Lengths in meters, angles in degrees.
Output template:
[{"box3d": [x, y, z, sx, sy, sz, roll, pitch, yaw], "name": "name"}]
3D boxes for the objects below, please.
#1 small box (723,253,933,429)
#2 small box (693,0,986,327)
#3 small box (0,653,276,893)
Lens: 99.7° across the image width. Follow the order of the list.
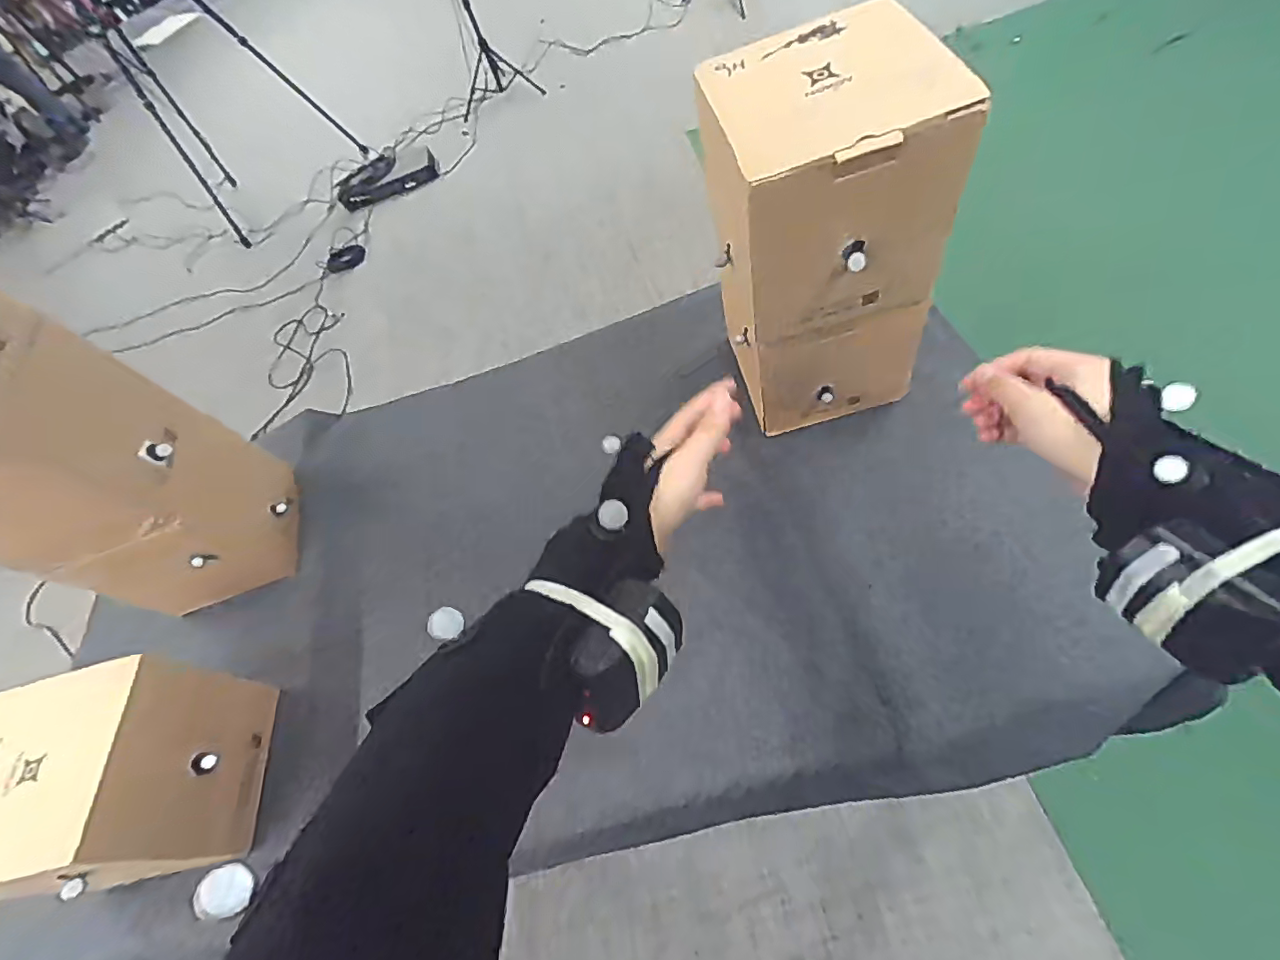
[{"box3d": [0.194, -0.187, 0.613, 0.168, 0.176, 0.179, -16, 60, 7], "name": "small box"}, {"box3d": [0.154, -0.257, 0.470, 0.168, 0.176, 0.179, -15, 61, 7], "name": "small box"}, {"box3d": [-0.506, 0.288, 0.532, 0.179, 0.176, 0.168, -16, 56, 6], "name": "small box"}]
